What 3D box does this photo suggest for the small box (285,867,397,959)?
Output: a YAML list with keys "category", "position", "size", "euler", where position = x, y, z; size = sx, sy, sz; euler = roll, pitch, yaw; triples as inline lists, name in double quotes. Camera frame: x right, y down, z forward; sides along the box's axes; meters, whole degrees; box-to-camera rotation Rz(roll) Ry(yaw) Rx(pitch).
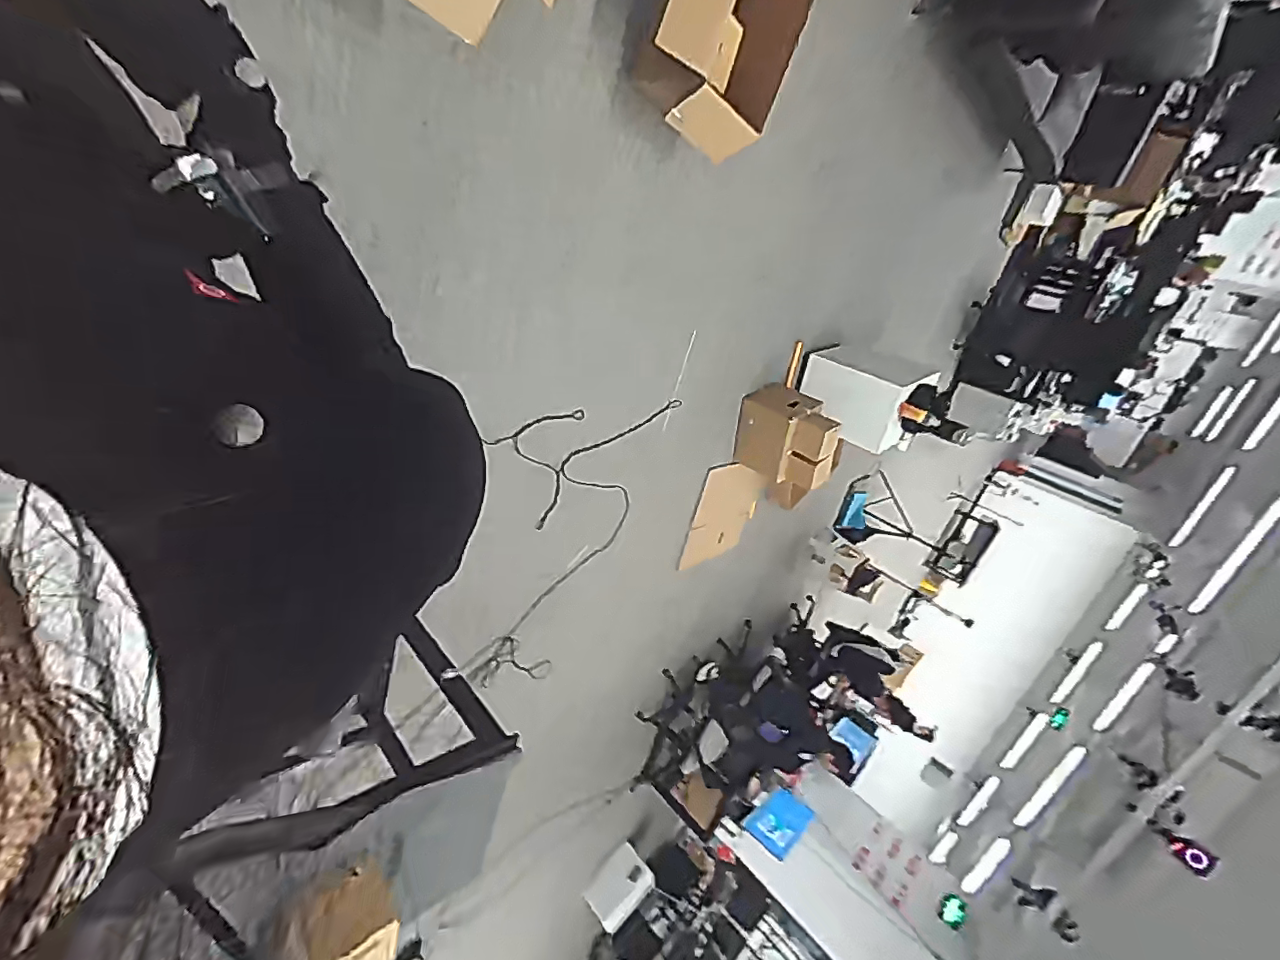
- category: "small box"
  position: [-0.640, 0.979, 1.153]
  size: [0.168, 0.176, 0.179]
  euler: [-11, 126, -46]
